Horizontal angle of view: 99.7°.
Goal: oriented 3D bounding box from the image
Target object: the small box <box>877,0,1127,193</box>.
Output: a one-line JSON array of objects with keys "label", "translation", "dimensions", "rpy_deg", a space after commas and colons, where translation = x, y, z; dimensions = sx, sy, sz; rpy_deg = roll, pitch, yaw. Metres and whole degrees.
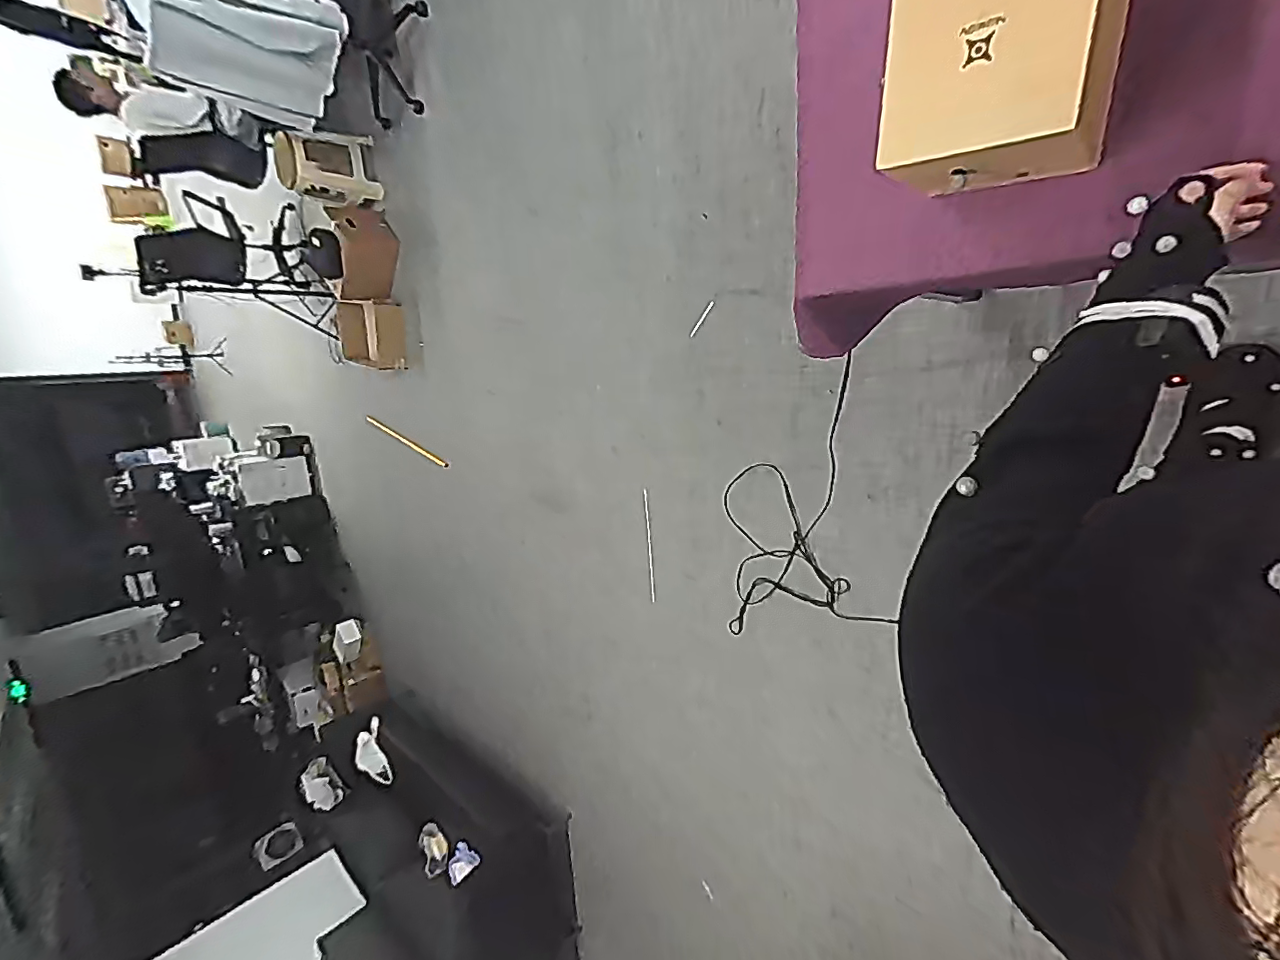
[{"label": "small box", "translation": [0.361, -0.403, 0.543], "dimensions": [0.168, 0.176, 0.179], "rpy_deg": [14, 109, 42]}]
